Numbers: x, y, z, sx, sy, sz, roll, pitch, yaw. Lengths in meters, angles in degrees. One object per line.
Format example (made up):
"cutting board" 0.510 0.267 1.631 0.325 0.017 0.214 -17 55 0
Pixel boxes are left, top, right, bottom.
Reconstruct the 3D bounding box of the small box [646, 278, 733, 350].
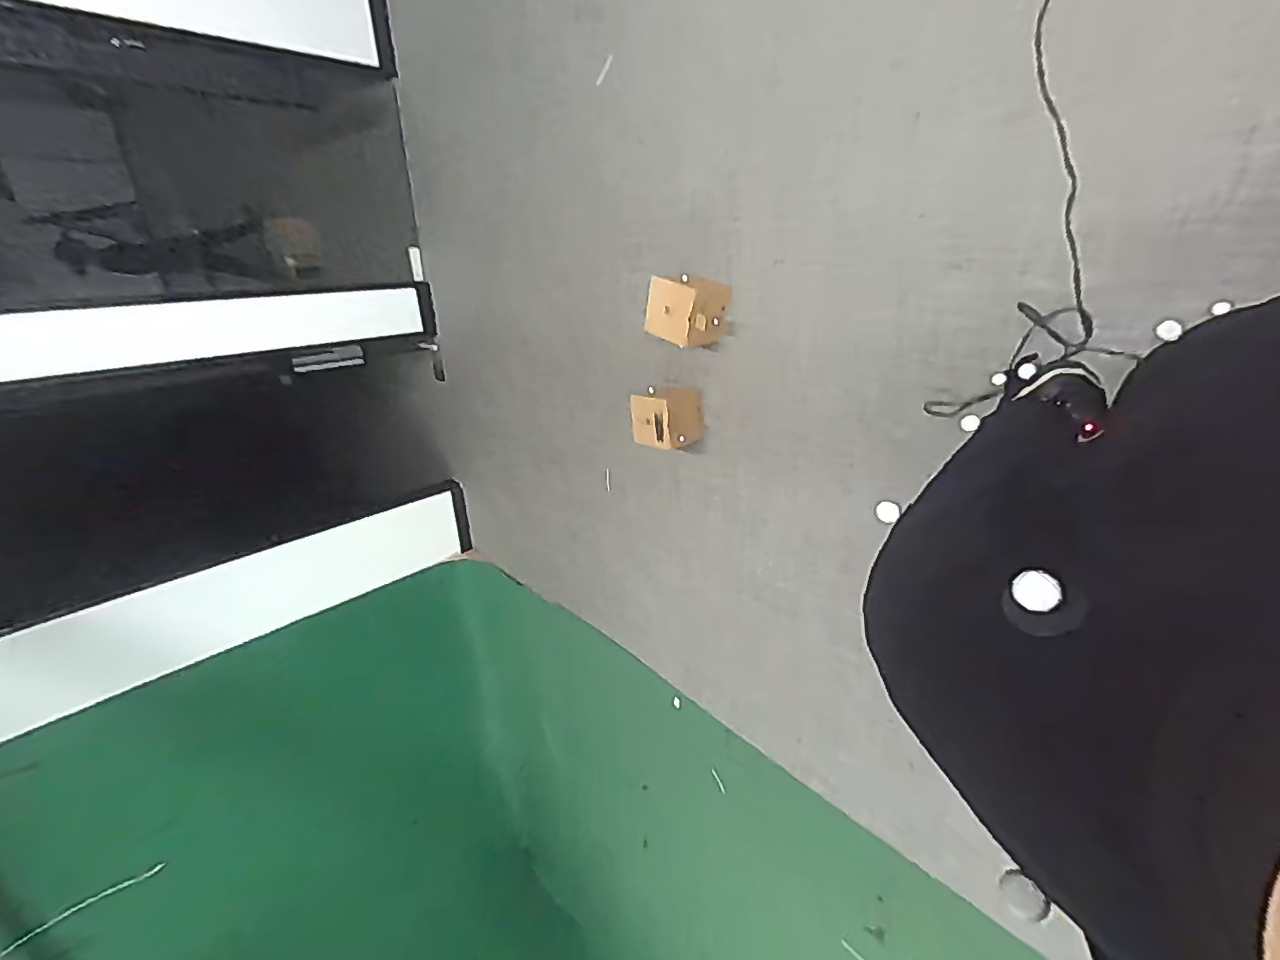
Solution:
"small box" 0.146 -0.501 1.617 0.179 0.176 0.168 33 129 35
